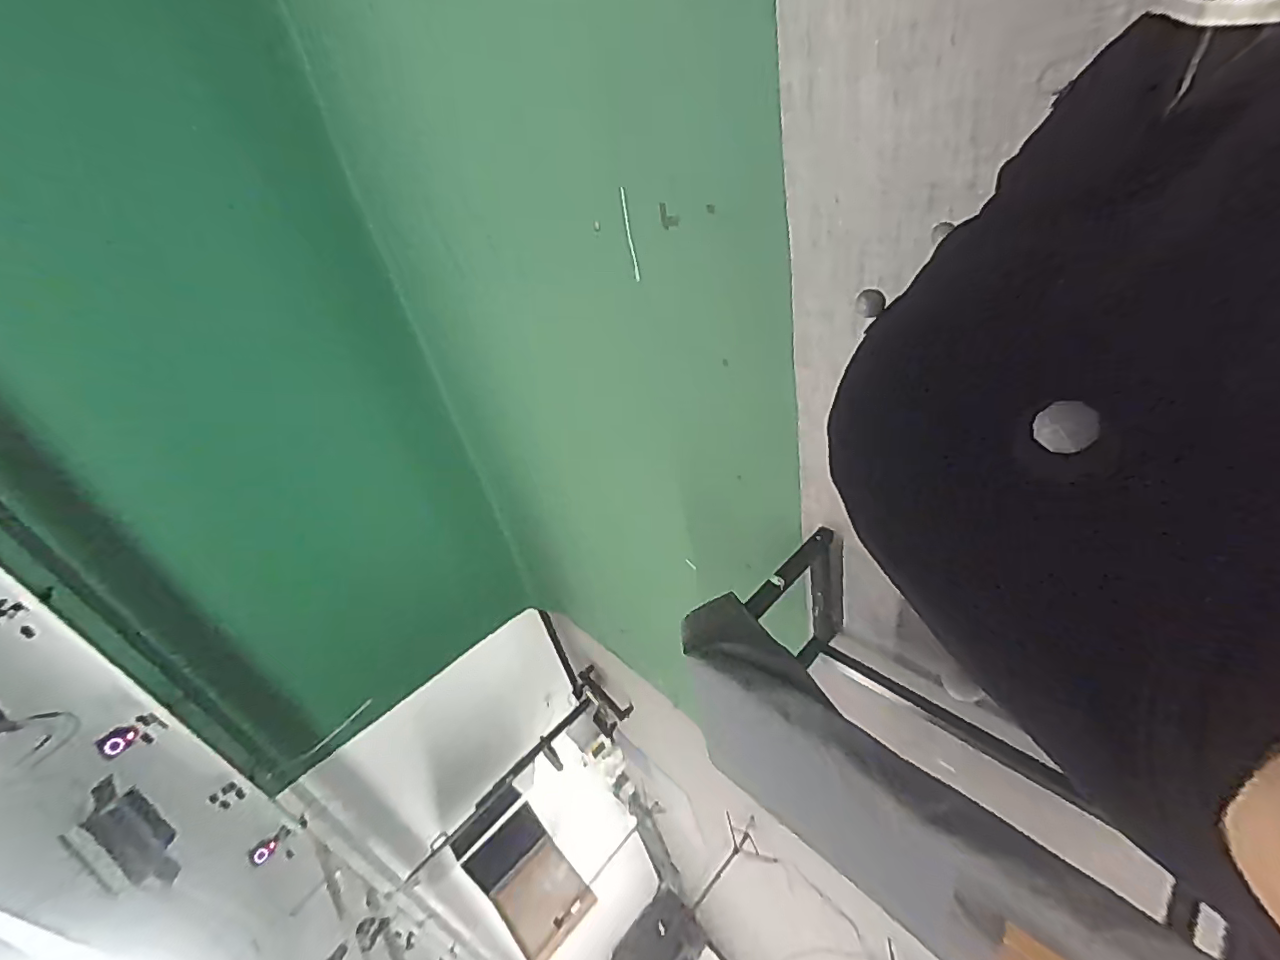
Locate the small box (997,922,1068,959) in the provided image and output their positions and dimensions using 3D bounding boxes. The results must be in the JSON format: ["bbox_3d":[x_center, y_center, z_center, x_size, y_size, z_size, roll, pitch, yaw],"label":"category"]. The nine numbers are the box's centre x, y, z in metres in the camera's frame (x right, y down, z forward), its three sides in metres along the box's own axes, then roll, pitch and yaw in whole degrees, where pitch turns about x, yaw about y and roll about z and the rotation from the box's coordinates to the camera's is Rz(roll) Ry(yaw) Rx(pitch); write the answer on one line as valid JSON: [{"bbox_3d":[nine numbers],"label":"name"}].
[{"bbox_3d":[0.776,1.015,1.036,0.179,0.176,0.168,23,138,45],"label":"small box"}]
